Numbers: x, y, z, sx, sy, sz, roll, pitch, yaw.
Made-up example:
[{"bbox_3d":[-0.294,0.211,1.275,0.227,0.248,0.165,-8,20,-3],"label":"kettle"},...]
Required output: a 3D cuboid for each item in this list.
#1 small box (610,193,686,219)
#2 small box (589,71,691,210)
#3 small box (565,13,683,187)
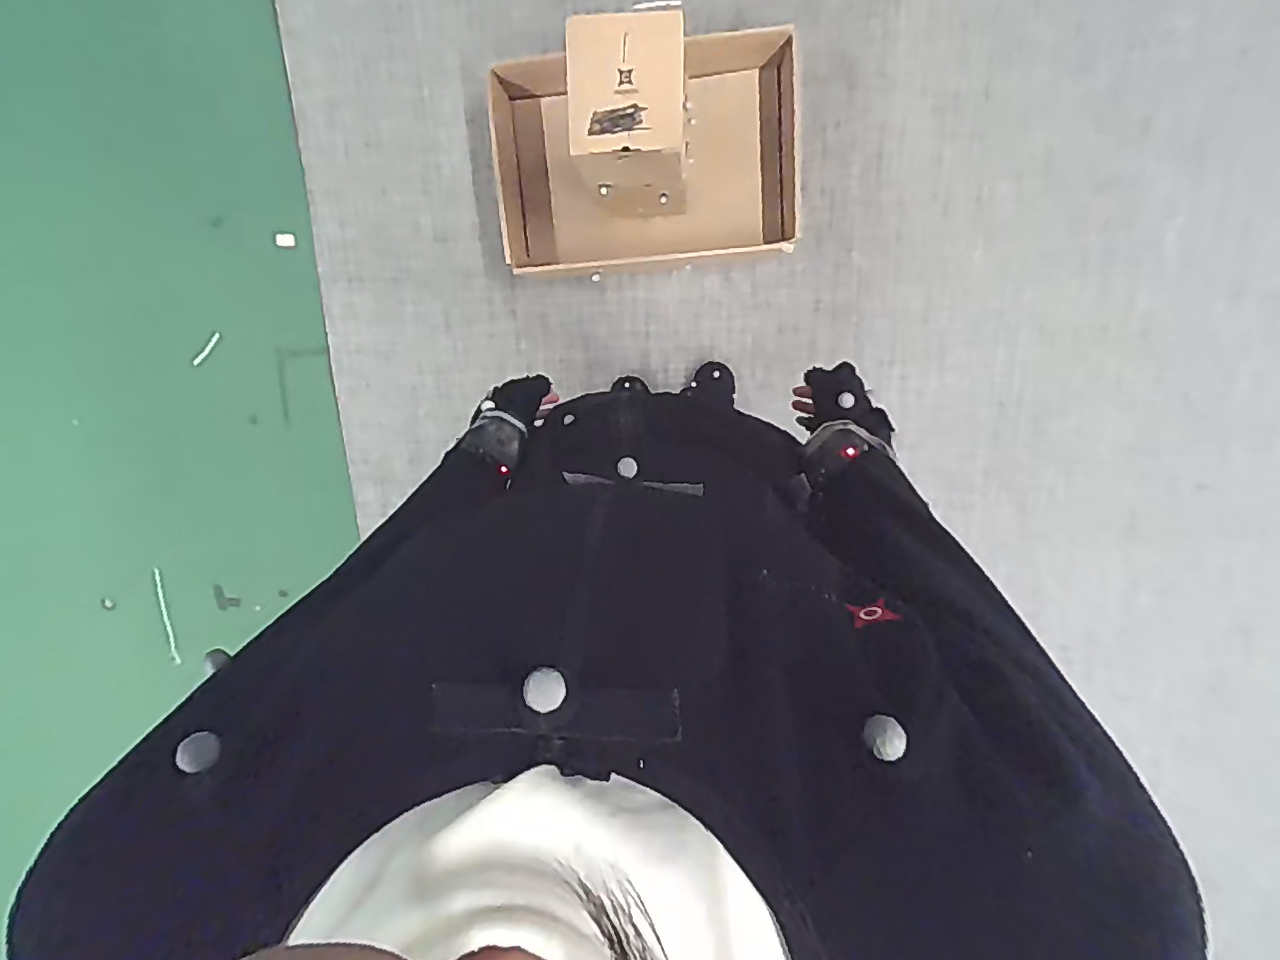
[{"bbox_3d":[0.007,-0.673,1.155,0.179,0.176,0.168,-5,101,5],"label":"small box"},{"bbox_3d":[-0.002,-0.606,0.985,0.179,0.176,0.168,-4,102,5],"label":"small box"},{"bbox_3d":[-0.018,-0.572,0.841,0.168,0.176,0.179,1,101,4],"label":"small box"}]
